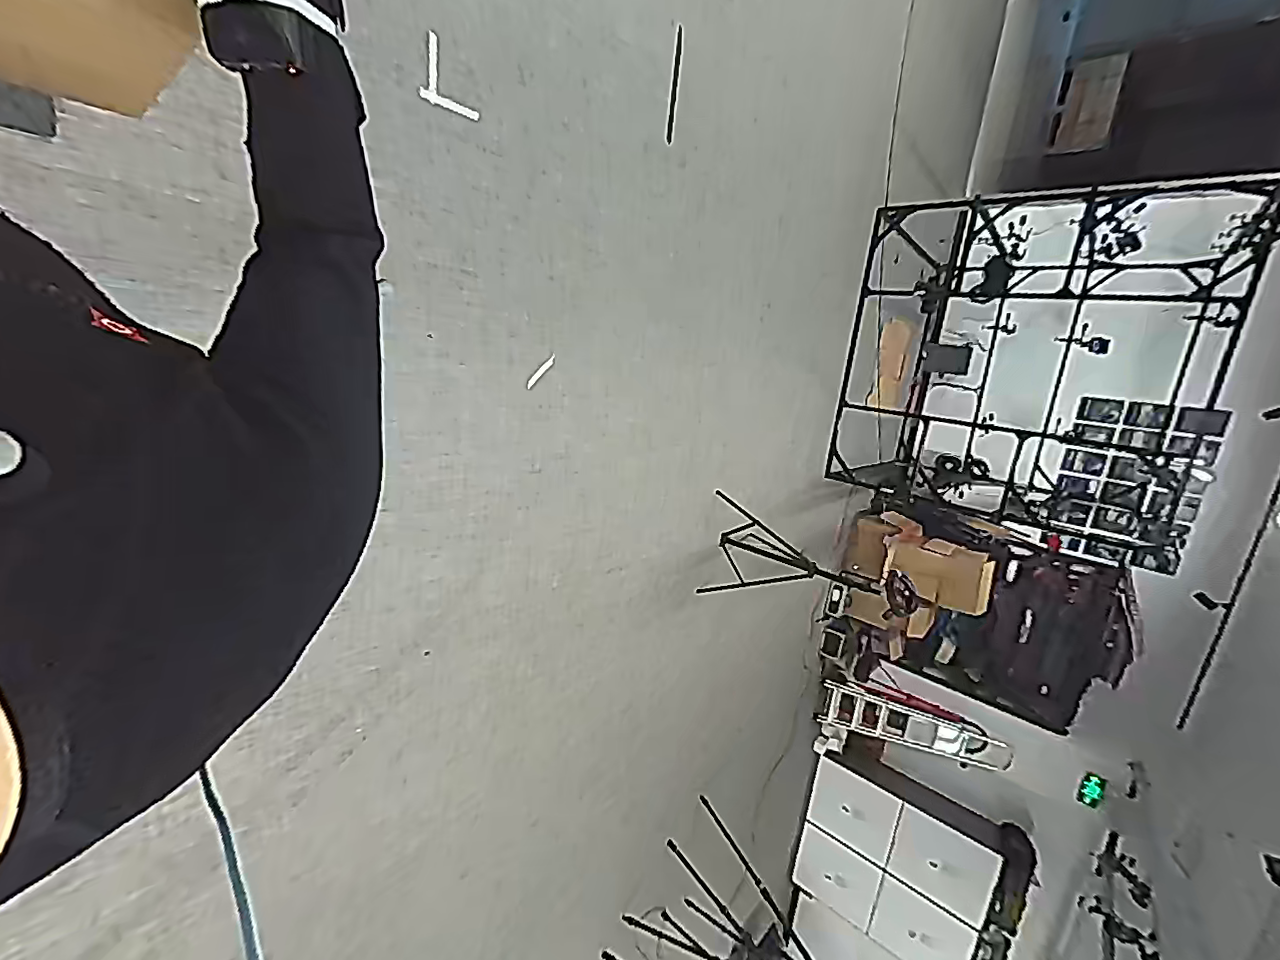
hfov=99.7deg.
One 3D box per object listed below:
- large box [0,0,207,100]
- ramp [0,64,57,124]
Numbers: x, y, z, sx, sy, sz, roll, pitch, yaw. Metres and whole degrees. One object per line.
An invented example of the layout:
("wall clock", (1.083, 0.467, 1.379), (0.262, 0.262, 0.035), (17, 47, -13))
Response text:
("large box", (-0.515, -0.475, 0.274), (0.408, 0.320, 0.320), (-12, 109, -50))
("ramp", (-1.060, -1.050, 0.610), (0.509, 0.206, 0.991), (-12, 113, -50))
